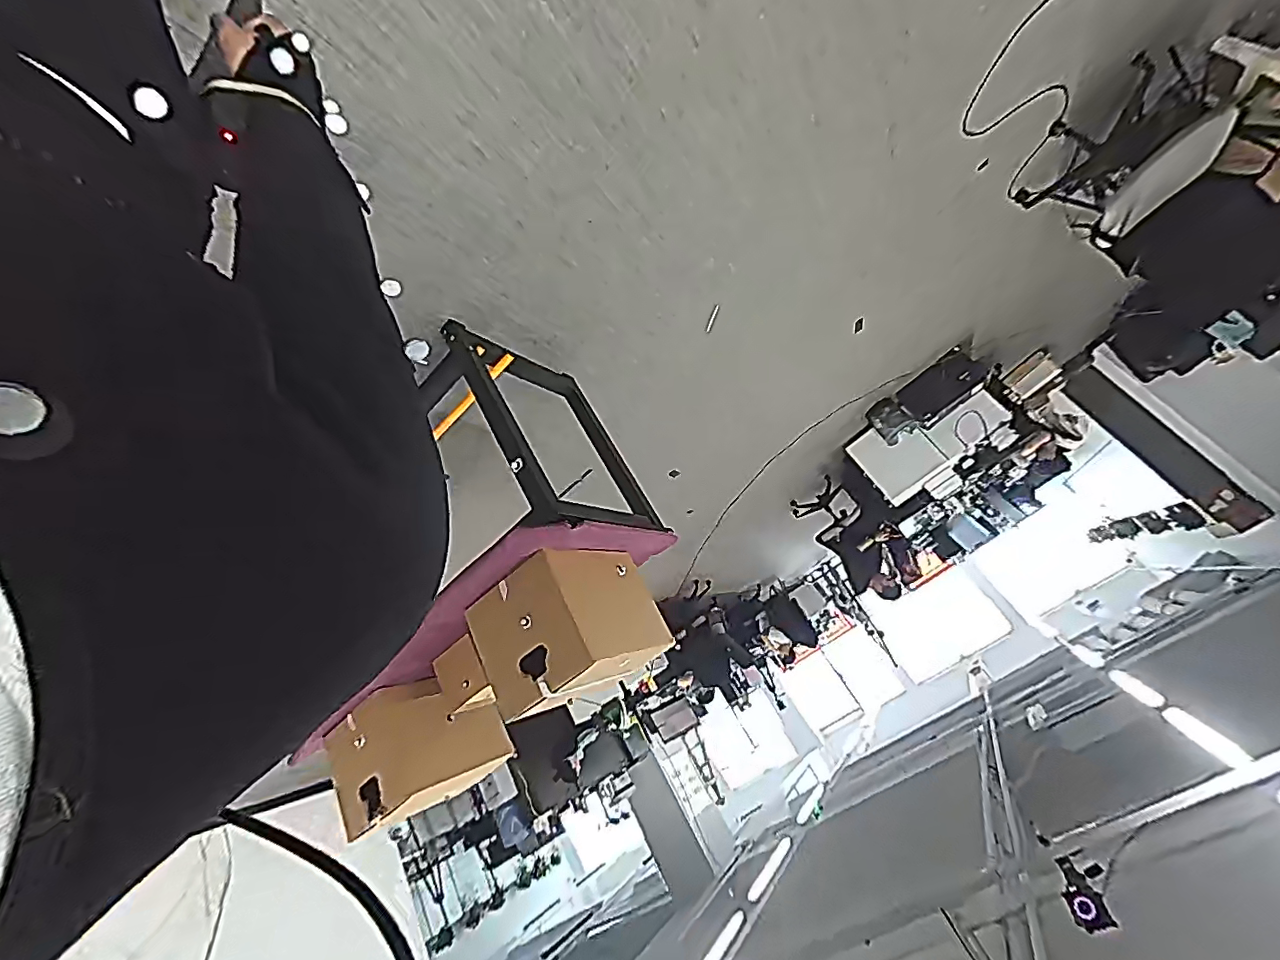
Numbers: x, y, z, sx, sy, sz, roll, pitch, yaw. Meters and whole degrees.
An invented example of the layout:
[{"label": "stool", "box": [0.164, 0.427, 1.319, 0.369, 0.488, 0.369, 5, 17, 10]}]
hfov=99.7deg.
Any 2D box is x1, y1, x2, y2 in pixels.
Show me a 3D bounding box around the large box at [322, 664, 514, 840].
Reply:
[{"label": "large box", "box": [-0.689, 0.821, 1.692, 0.320, 0.320, 0.408, -41, 156, 19]}]
